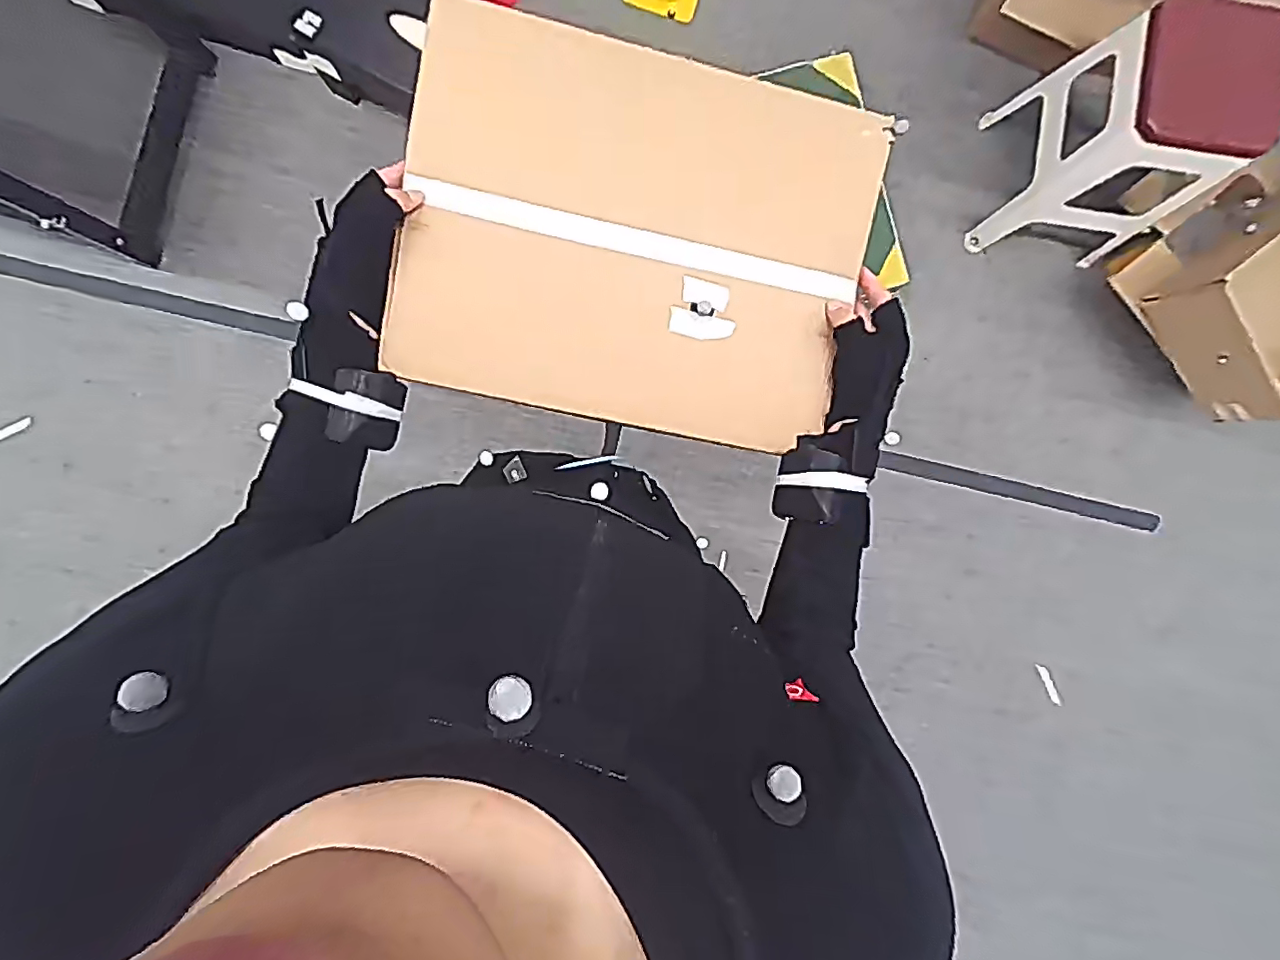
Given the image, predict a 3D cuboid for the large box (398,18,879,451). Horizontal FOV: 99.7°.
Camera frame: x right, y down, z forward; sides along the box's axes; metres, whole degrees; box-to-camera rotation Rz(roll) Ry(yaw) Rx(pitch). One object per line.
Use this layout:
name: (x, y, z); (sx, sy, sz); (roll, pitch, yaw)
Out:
large box: (-0.014, -0.227, 0.637); (0.408, 0.320, 0.320); (10, 97, -7)
